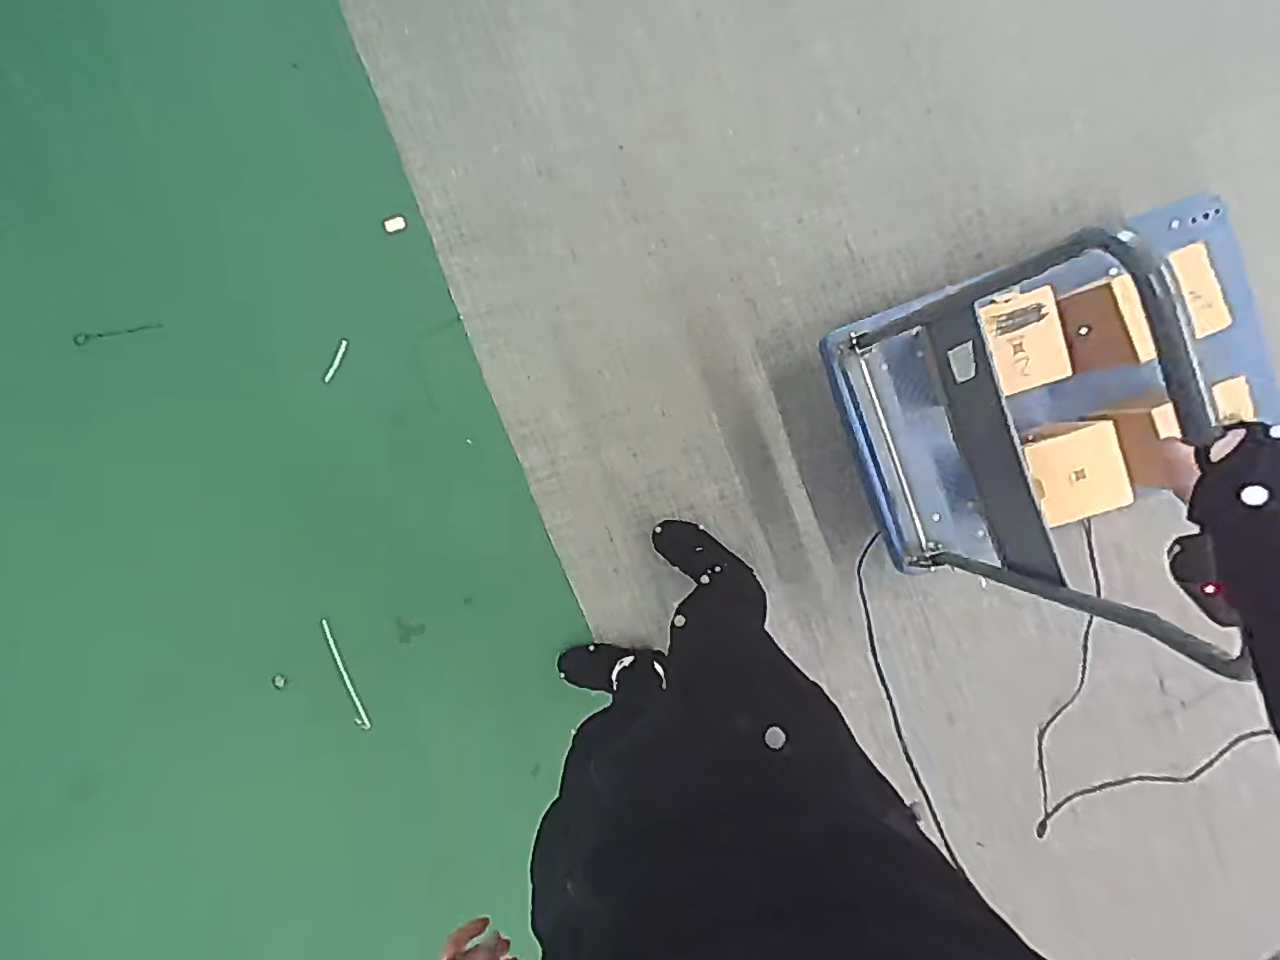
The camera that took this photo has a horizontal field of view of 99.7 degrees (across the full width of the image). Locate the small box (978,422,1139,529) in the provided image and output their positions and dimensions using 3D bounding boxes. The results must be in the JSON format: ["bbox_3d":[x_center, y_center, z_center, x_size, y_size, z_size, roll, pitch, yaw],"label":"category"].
[{"bbox_3d":[0.832,-0.016,1.091,0.179,0.176,0.168,-18,93,4],"label":"small box"}]

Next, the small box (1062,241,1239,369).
[{"bbox_3d":[0.980,-0.331,1.060,0.179,0.176,0.168,-23,94,4],"label":"small box"}]

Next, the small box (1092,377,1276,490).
[{"bbox_3d":[1.068,-0.091,1.076,0.179,0.176,0.168,-21,93,4],"label":"small box"}]
